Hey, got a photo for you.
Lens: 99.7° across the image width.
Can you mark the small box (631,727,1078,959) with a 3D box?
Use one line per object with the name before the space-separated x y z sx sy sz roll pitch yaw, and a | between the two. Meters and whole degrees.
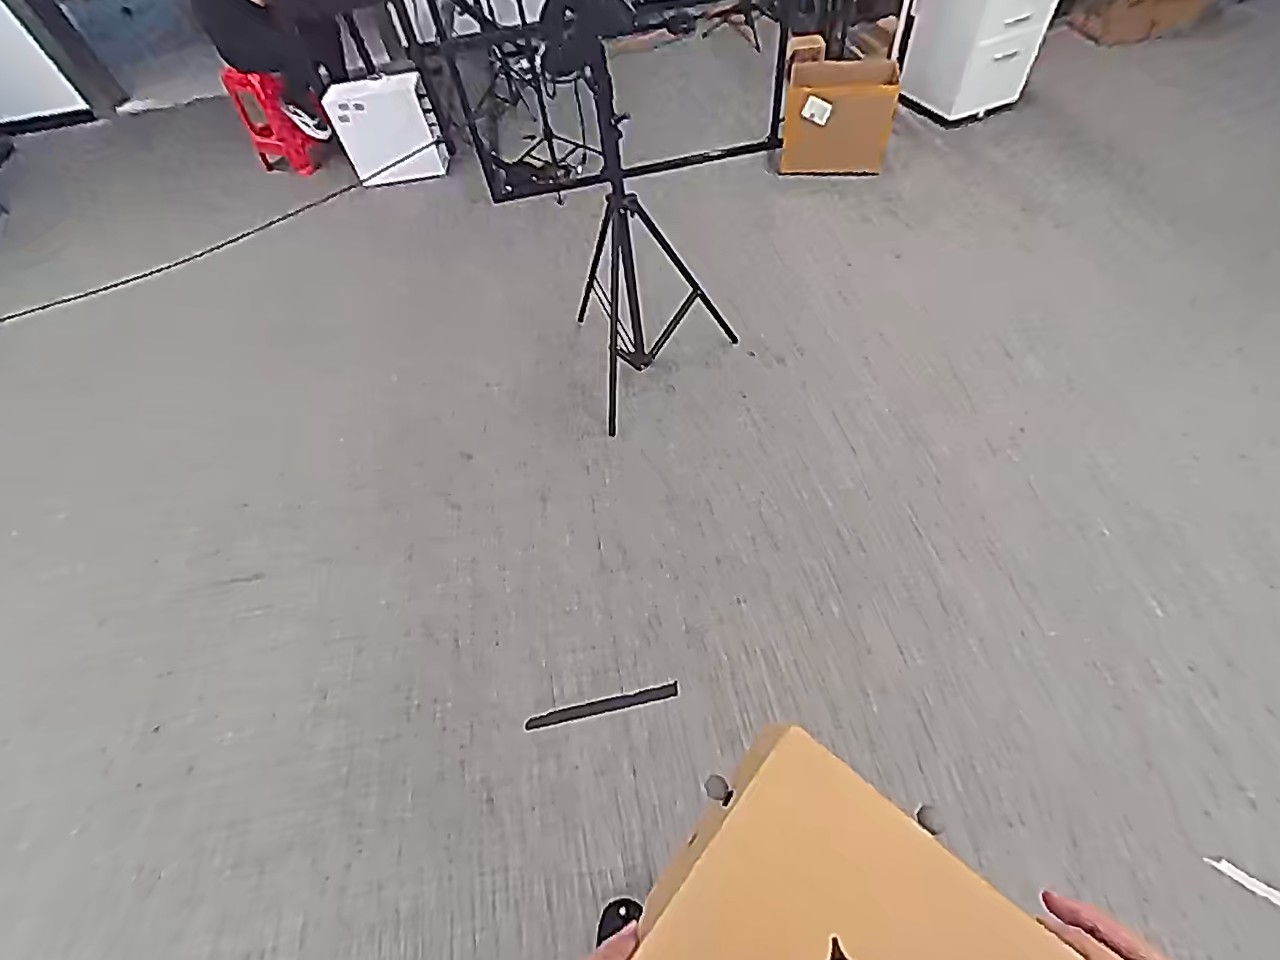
small box | 0.111 0.281 0.332 0.179 0.176 0.168 36 74 20
